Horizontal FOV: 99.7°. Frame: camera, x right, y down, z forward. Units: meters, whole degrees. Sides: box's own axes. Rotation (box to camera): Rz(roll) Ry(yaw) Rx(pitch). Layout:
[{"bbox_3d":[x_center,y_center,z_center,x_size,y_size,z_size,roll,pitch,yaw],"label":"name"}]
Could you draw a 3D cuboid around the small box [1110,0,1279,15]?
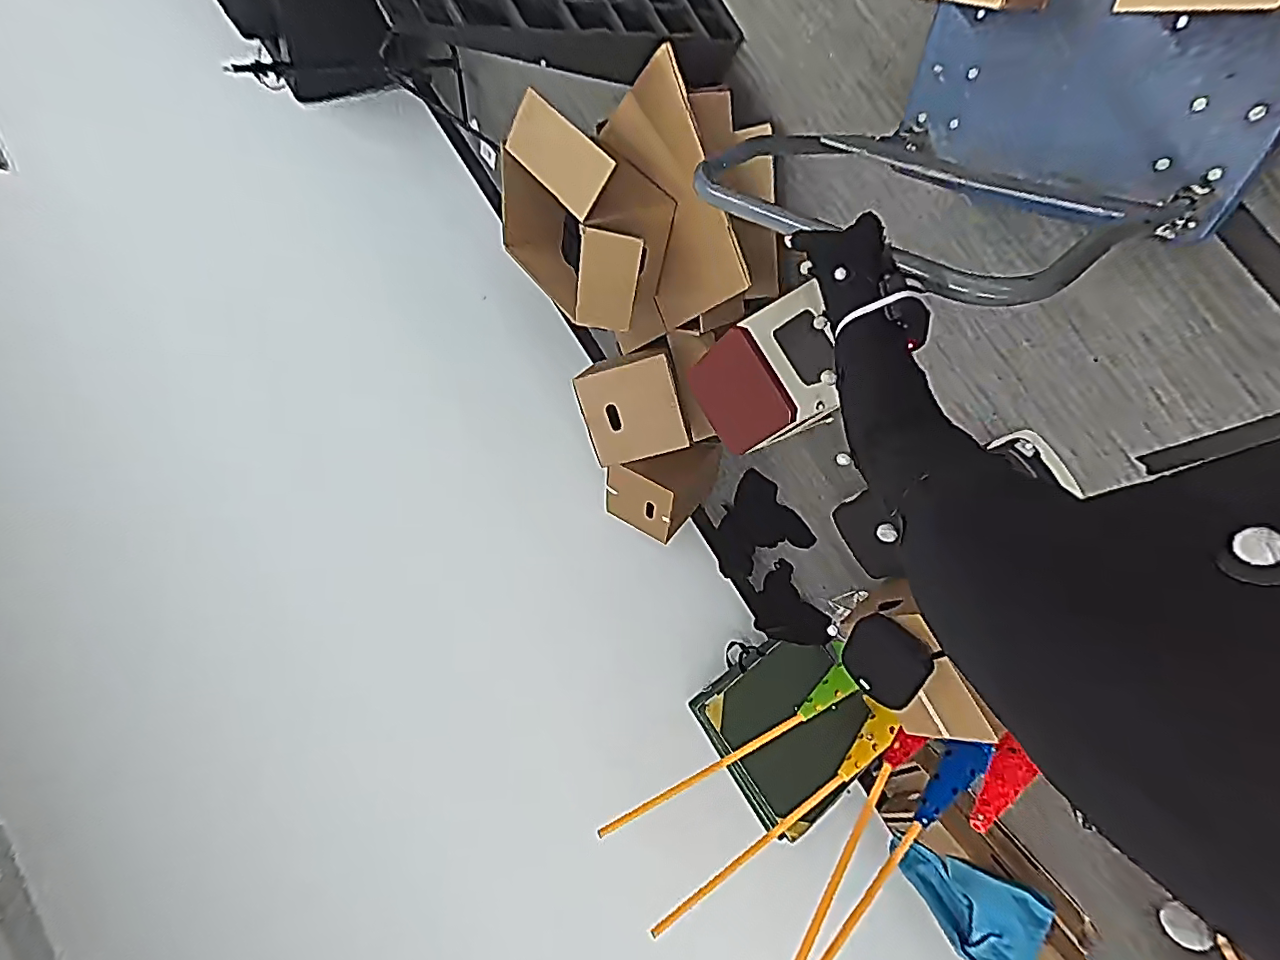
[{"bbox_3d":[0.756,-0.692,0.674,0.179,0.176,0.168,38,143,36],"label":"small box"}]
